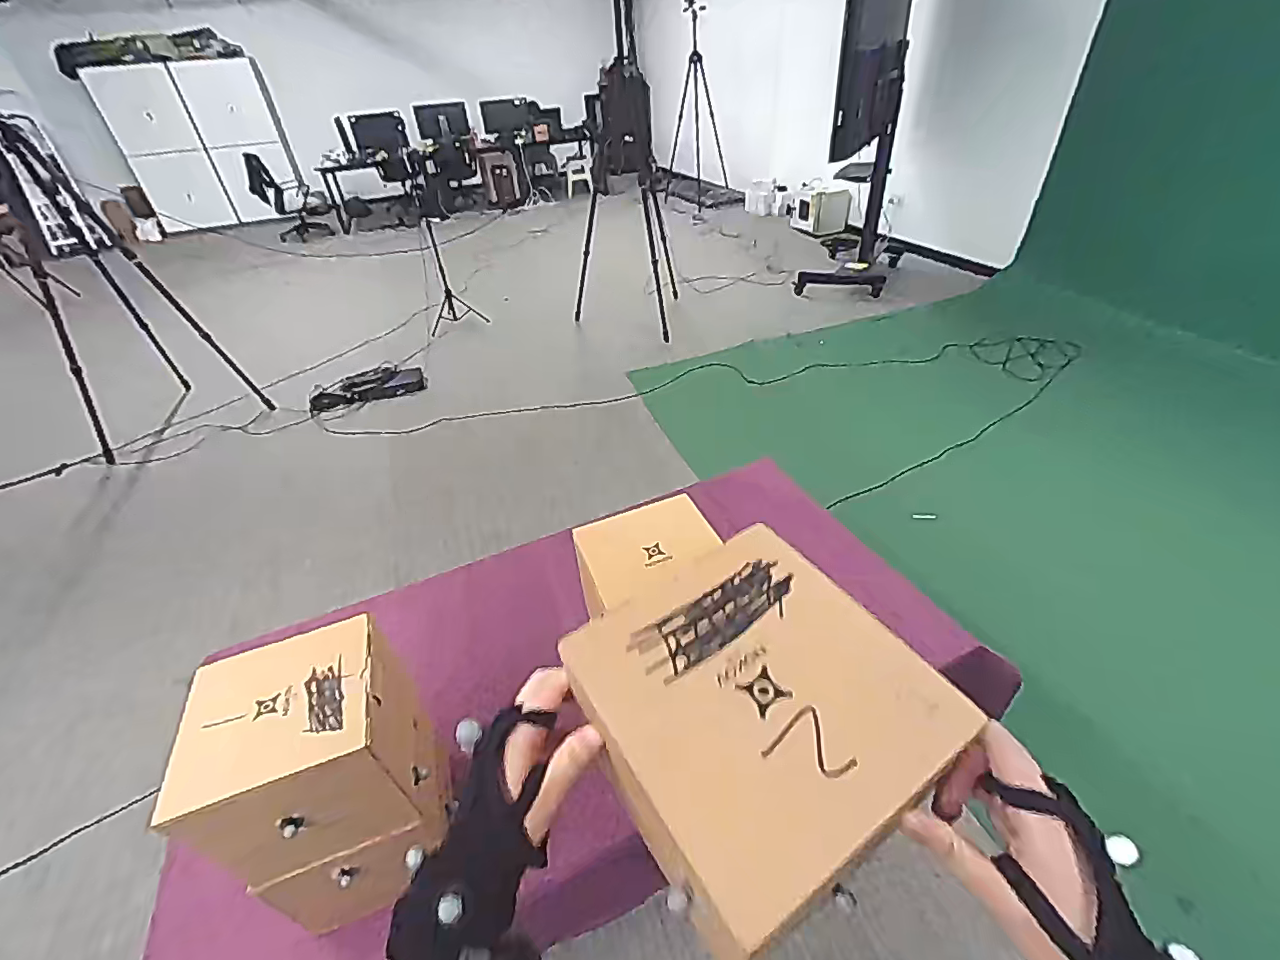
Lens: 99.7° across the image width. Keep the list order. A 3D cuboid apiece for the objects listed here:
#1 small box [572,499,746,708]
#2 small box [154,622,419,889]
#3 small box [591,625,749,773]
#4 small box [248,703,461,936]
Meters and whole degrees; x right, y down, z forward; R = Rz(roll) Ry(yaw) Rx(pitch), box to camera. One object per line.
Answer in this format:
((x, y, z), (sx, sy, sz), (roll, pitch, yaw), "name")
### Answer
((0.021, 0.158, 0.706), (0.168, 0.176, 0.179), (-17, 40, -14), "small box")
((-0.349, 0.291, 0.580), (0.179, 0.176, 0.168), (-18, 40, -14), "small box")
((0.040, 0.291, 0.799), (0.179, 0.176, 0.168), (-17, 39, -15), "small box")
((-0.341, 0.423, 0.677), (0.179, 0.176, 0.168), (-16, 40, -15), "small box")
